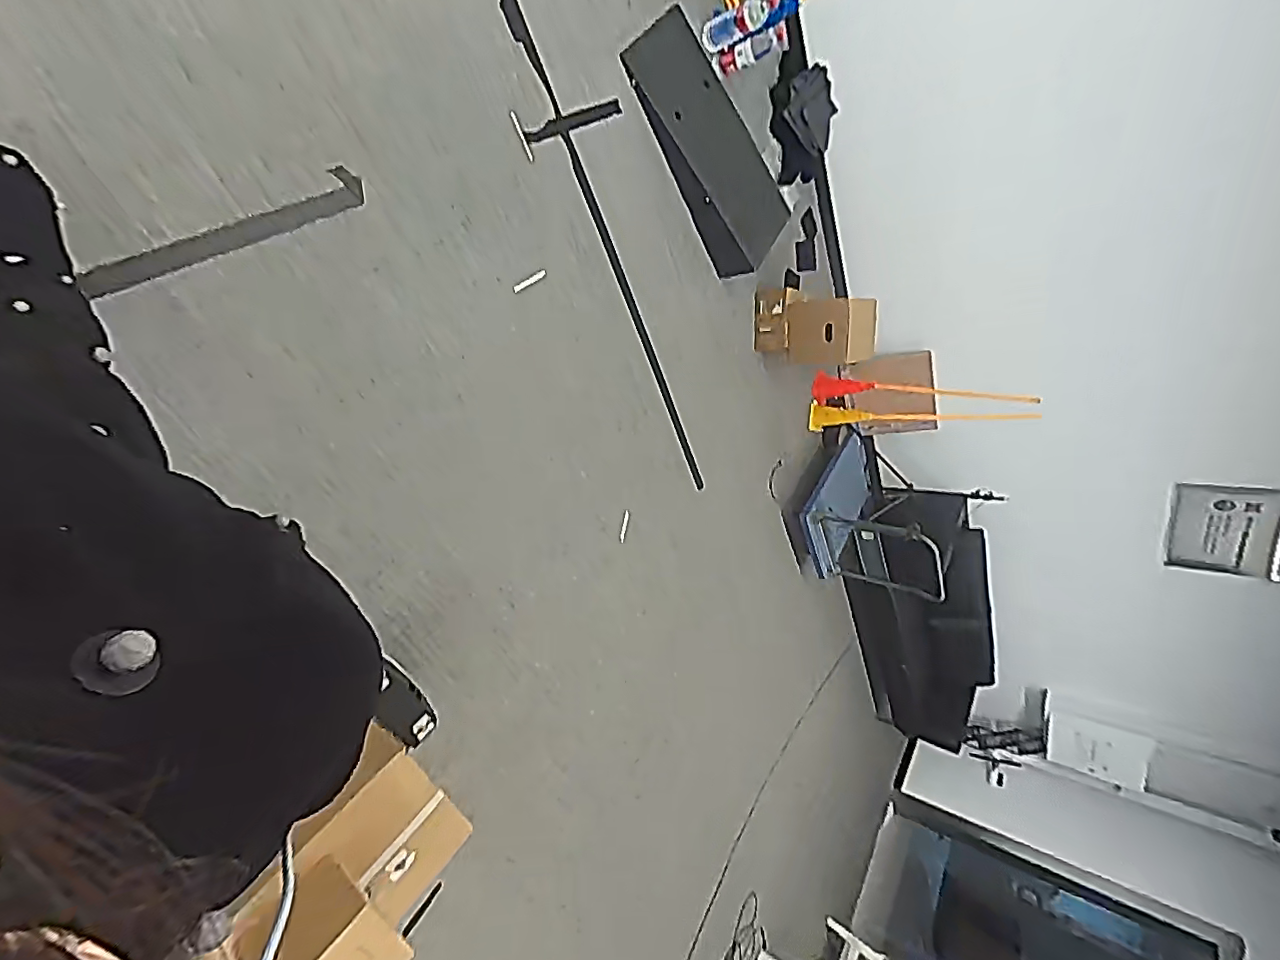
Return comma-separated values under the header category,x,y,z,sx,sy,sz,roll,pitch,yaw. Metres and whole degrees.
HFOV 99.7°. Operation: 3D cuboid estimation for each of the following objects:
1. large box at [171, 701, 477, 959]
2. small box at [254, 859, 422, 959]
category,x,y,z,sx,sy,sz,roll,pitch,yaw
large box,-0.641,0.763,1.135,0.408,0.320,0.320,-45,126,-37
small box,-0.513,0.802,0.913,0.179,0.176,0.168,-40,122,-39
